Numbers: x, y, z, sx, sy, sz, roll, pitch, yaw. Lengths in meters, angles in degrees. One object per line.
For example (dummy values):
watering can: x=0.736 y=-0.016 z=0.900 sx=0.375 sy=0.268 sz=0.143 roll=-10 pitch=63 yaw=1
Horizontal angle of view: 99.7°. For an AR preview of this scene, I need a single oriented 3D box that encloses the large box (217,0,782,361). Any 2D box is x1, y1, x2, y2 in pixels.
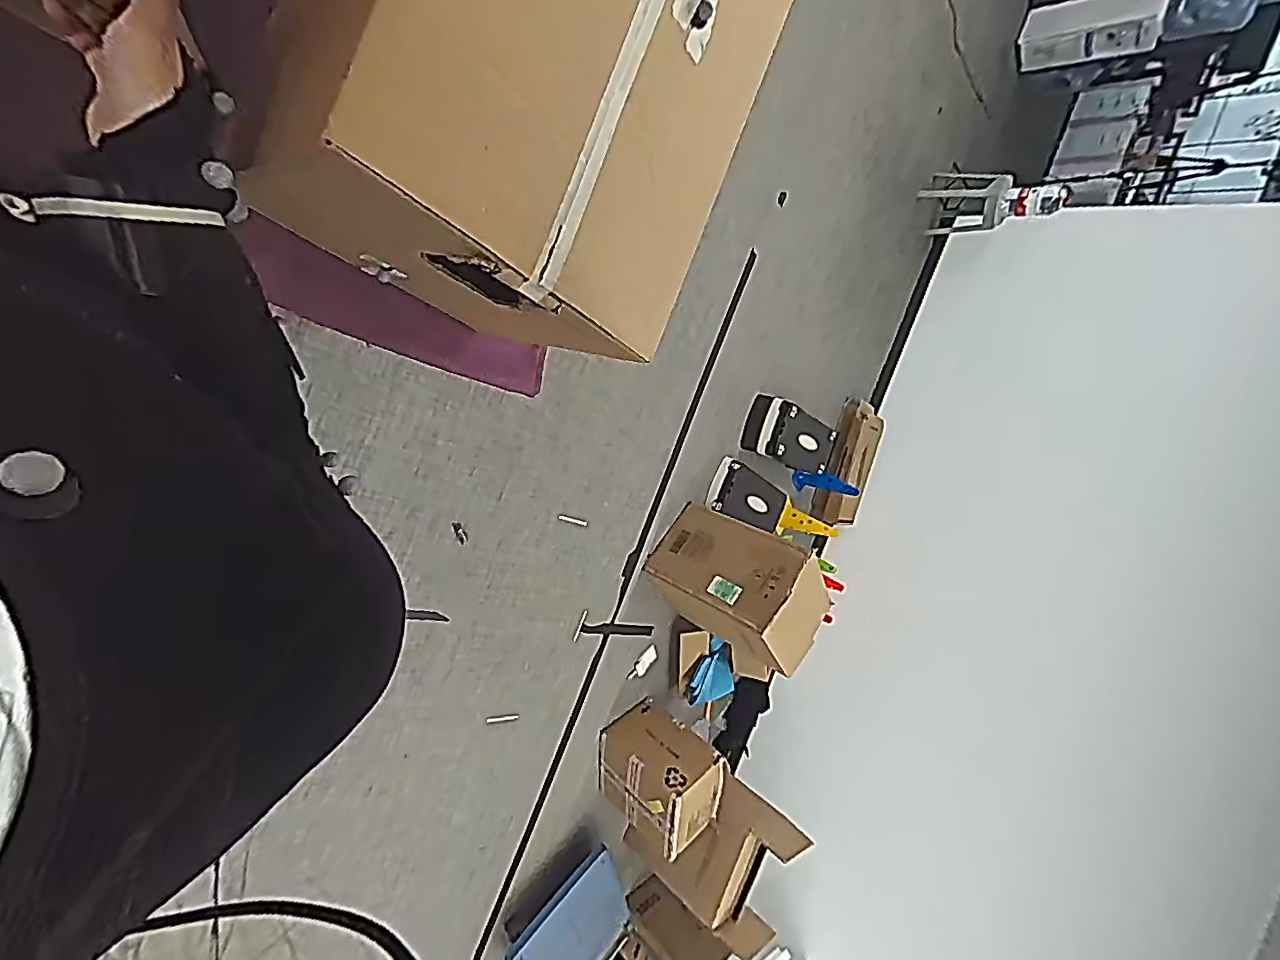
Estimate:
large box: x=-0.122 y=-0.370 z=0.508 sx=0.320 sy=0.320 sz=0.408 roll=22 pitch=89 yaw=-52
